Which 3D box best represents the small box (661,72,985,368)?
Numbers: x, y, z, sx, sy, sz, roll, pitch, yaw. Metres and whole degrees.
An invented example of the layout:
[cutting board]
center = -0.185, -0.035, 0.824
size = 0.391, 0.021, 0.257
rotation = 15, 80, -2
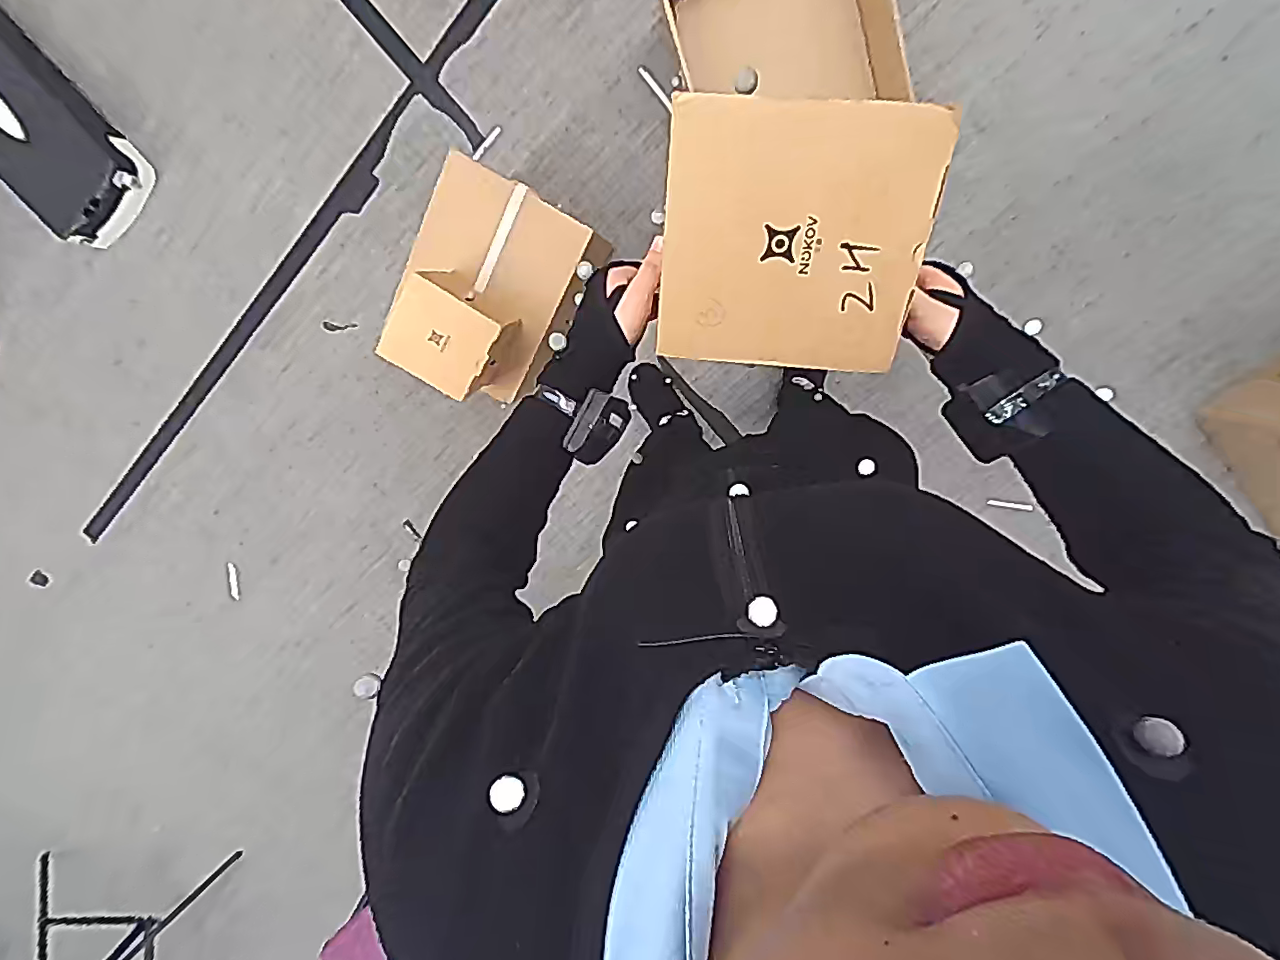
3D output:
[small box]
center = 0.115, -0.199, 0.422
size = 0.179, 0.176, 0.168
rotation = 6, 121, 3
